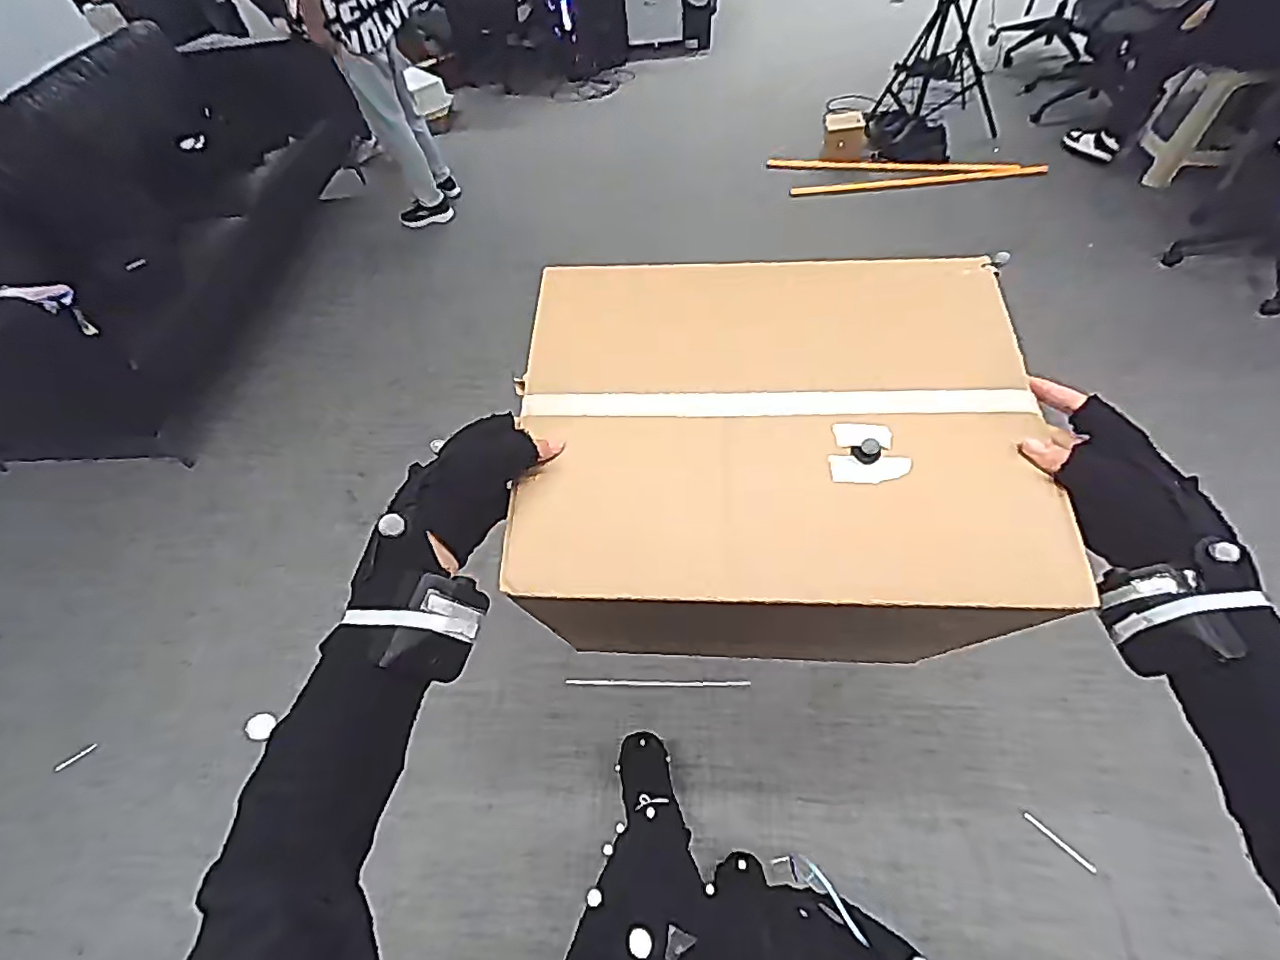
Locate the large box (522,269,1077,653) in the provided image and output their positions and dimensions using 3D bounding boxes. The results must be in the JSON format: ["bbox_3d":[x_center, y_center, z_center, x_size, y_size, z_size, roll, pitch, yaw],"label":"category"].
[{"bbox_3d":[0.117,0.005,0.583,0.408,0.320,0.320,0,65,3],"label":"large box"}]
